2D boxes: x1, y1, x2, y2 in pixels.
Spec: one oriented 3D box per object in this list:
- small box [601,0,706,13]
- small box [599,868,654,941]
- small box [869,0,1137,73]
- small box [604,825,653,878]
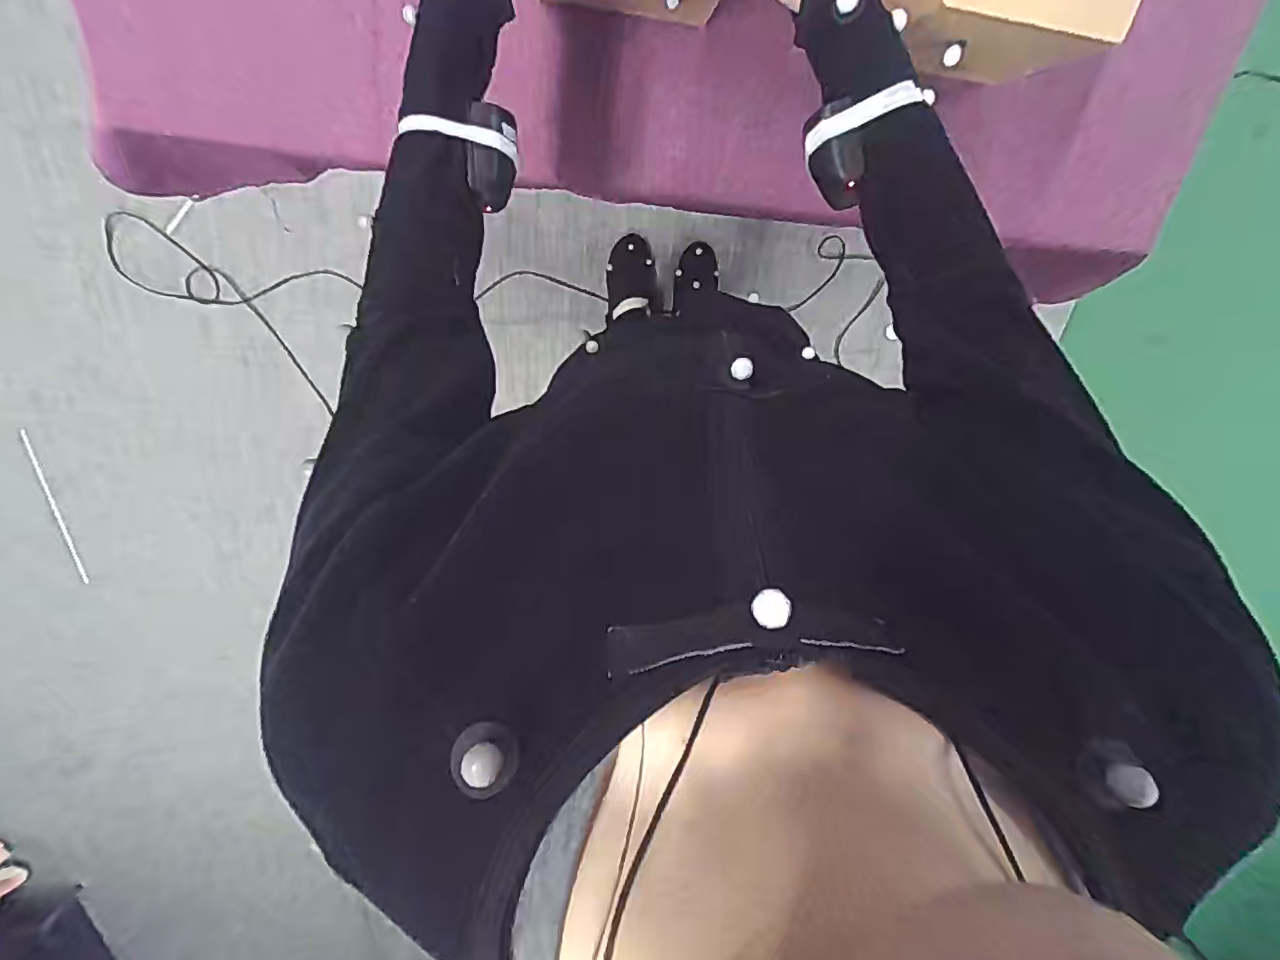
[{"bbox_3d":[-0.001,-0.518,0.439,0.179,0.176,0.168,4,114,-7],"label":"small box"},{"bbox_3d":[-0.057,1.640,2.092,0.179,0.176,0.168,11,114,-10],"label":"small box"},{"bbox_3d":[0.329,-0.491,0.476,0.168,0.176,0.179,6,114,-6],"label":"small box"},{"bbox_3d":[-0.053,1.575,2.244,0.168,0.176,0.179,11,113,-10],"label":"small box"}]
